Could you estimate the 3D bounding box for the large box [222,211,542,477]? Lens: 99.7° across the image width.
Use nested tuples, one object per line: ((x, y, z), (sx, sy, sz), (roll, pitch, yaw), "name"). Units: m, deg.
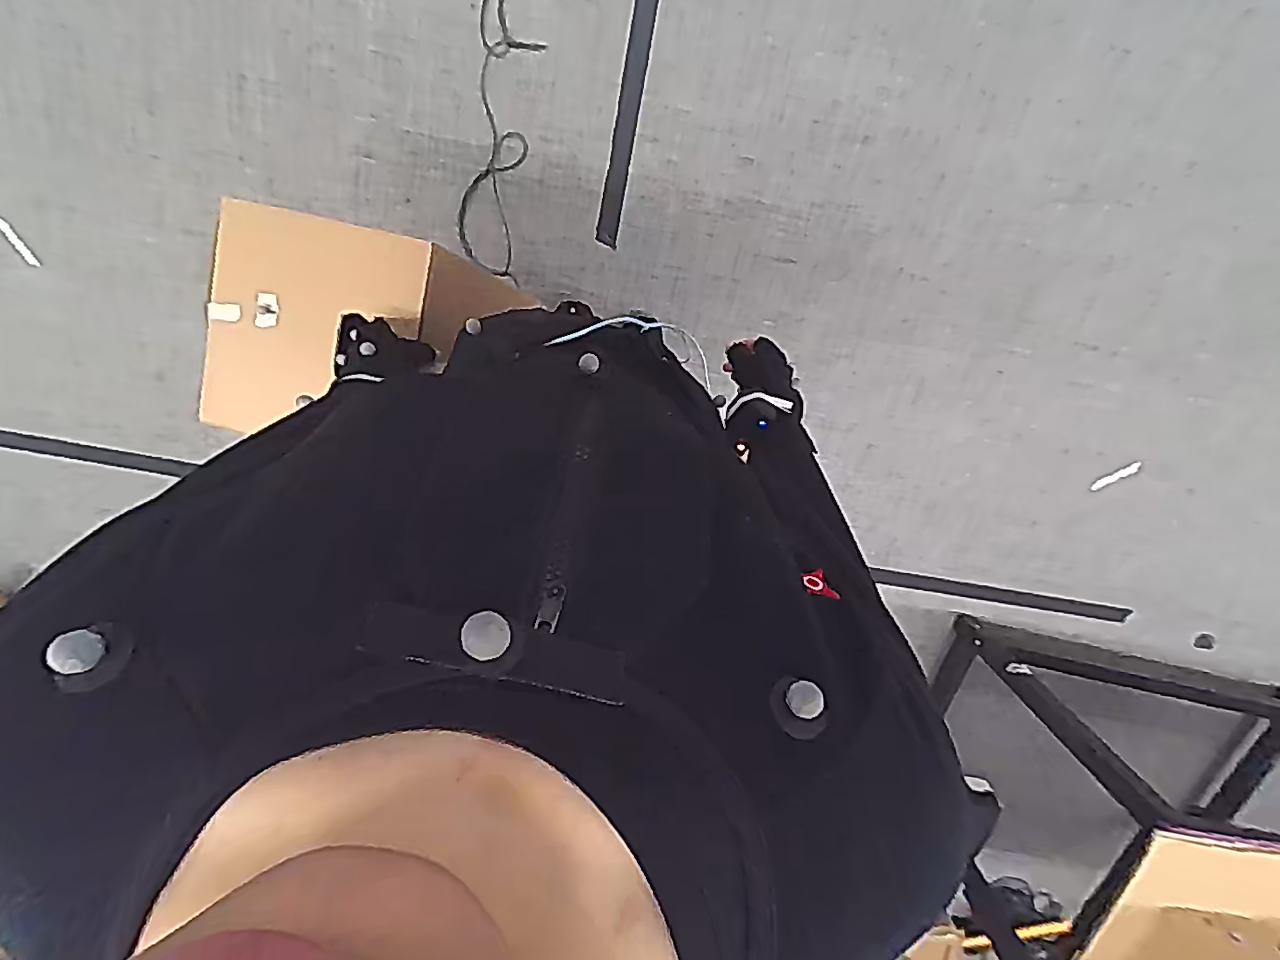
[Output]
((-0.406, -0.216, 0.929), (0.320, 0.408, 0.320), (16, 100, 6), "large box")
